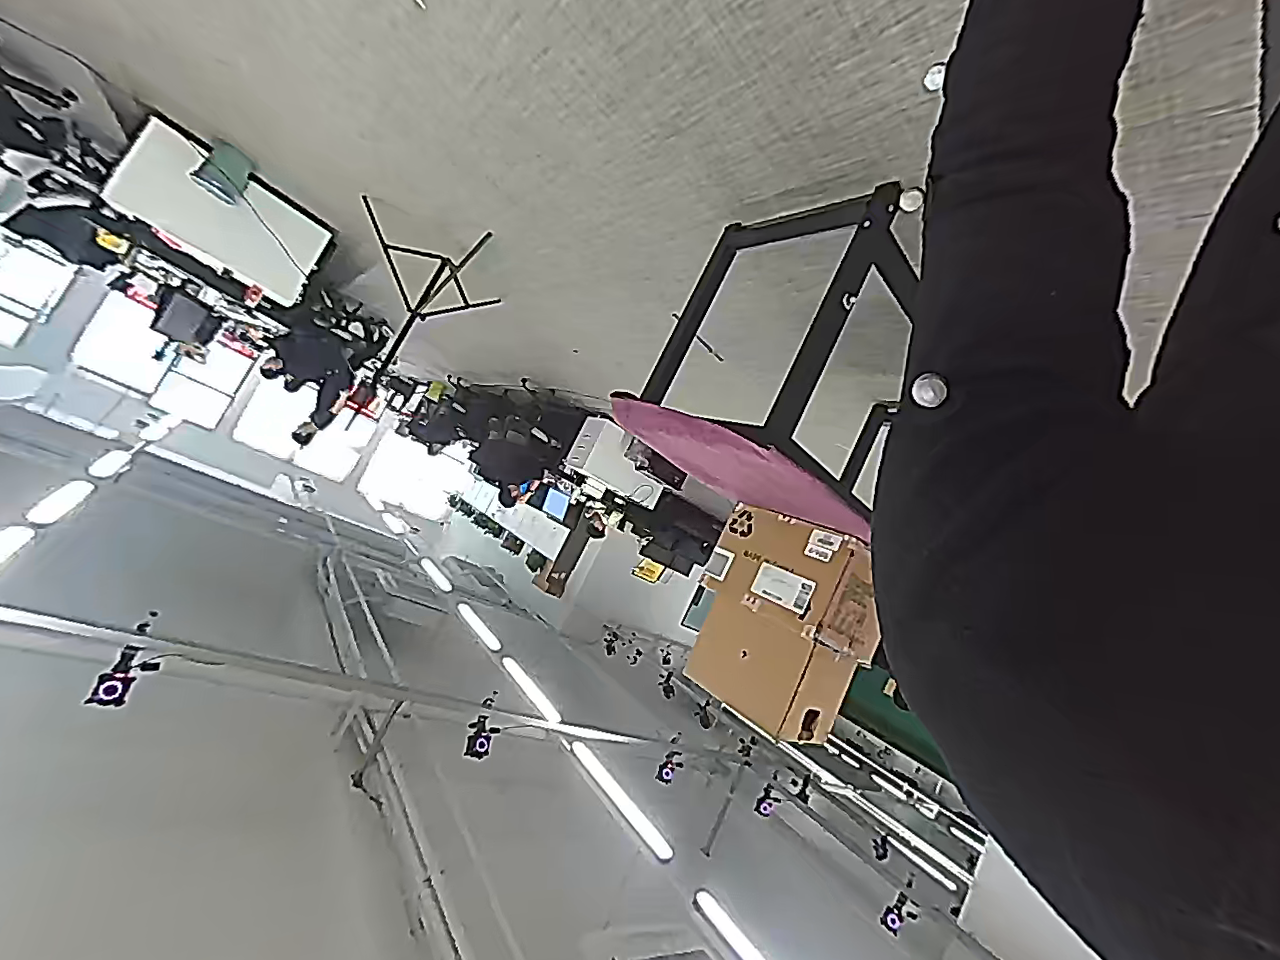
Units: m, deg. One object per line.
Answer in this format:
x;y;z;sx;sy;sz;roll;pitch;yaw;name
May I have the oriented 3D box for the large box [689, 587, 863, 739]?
0.442;0.591;1.788;0.320;0.320;0.408;26;175;-38;large box
